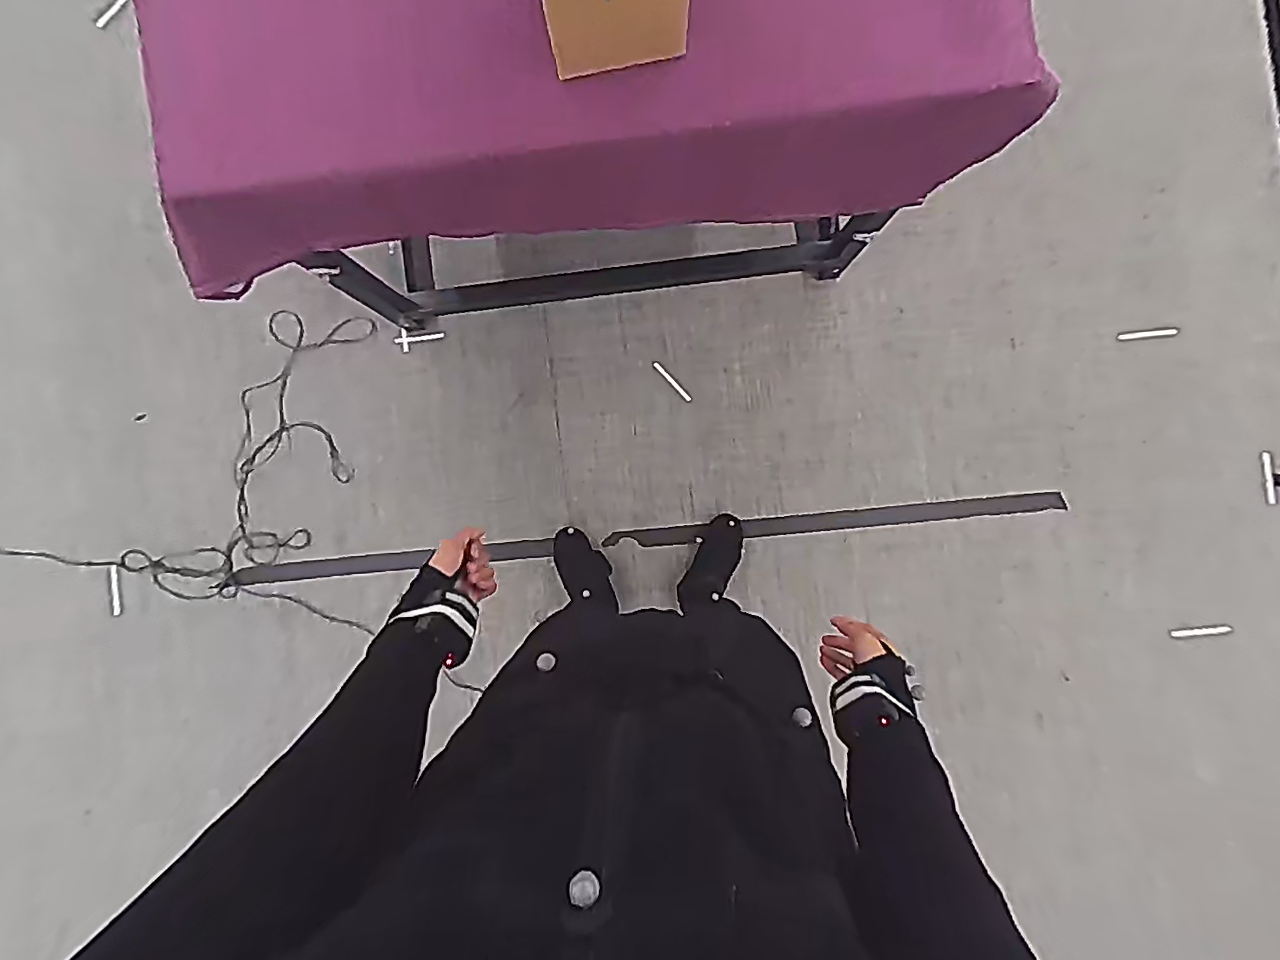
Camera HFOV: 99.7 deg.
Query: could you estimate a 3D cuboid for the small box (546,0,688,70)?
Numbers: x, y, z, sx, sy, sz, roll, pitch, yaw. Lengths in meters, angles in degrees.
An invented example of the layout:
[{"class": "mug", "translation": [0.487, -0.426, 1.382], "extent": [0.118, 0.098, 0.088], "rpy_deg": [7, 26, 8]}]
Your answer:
[{"class": "small box", "translation": [-0.037, -0.643, 0.654], "extent": [0.179, 0.176, 0.168], "rpy_deg": [-10, 89, 0]}]
